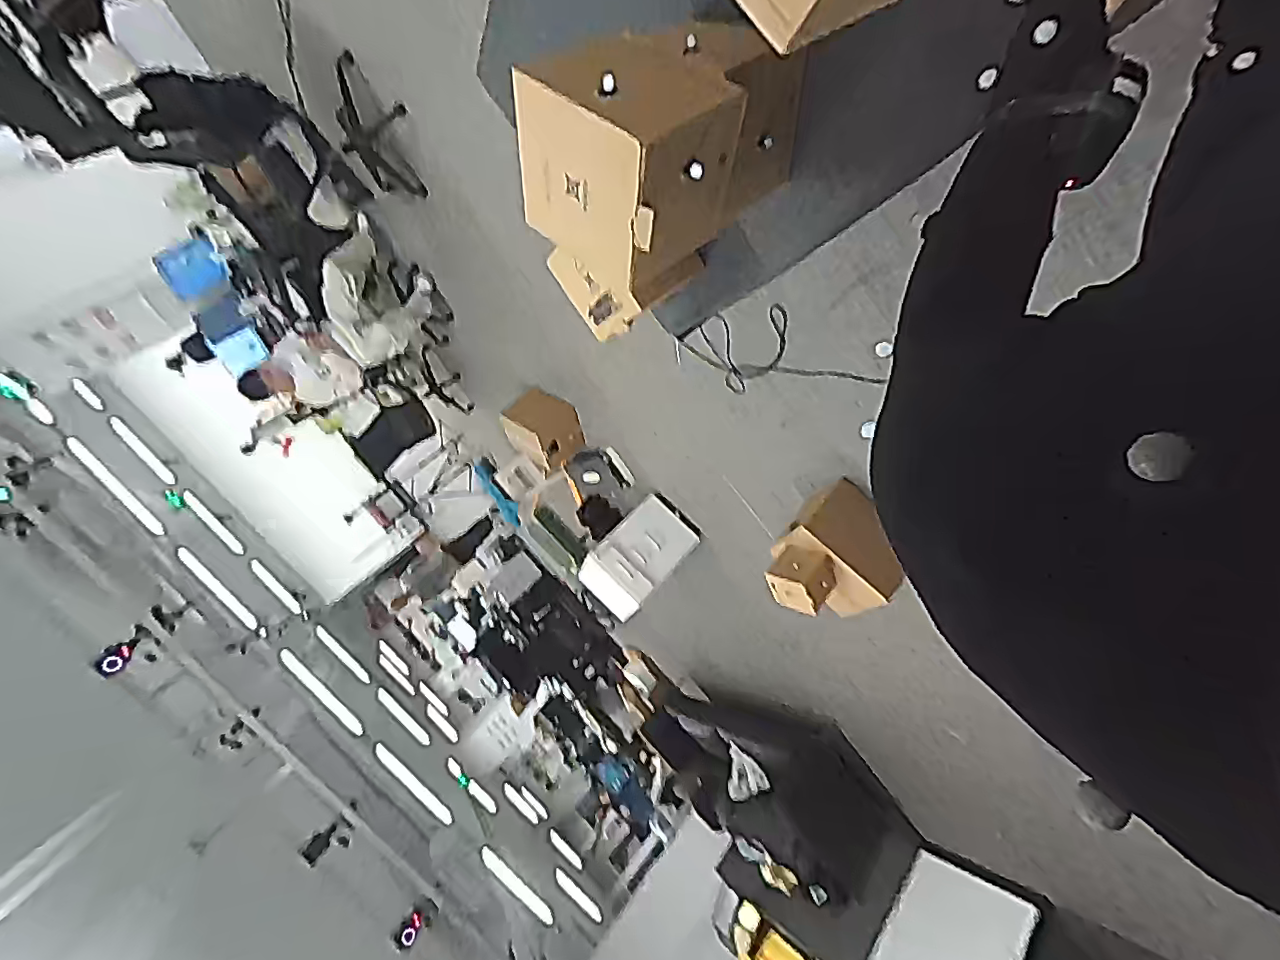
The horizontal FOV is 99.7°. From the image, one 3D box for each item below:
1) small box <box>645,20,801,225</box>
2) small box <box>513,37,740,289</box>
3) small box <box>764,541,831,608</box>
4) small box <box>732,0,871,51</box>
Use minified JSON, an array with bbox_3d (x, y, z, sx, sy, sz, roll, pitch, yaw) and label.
[{"bbox_3d":[0.081,-0.461,0.692,0.179,0.176,0.168,33,150,27],"label":"small box"},{"bbox_3d":[-0.014,-0.358,0.608,0.179,0.176,0.168,39,152,17],"label":"small box"},{"bbox_3d":[0.605,0.352,2.054,0.179,0.176,0.168,10,136,48],"label":"small box"},{"bbox_3d":[0.122,-0.415,0.316,0.179,0.176,0.168,49,155,-5],"label":"small box"}]
